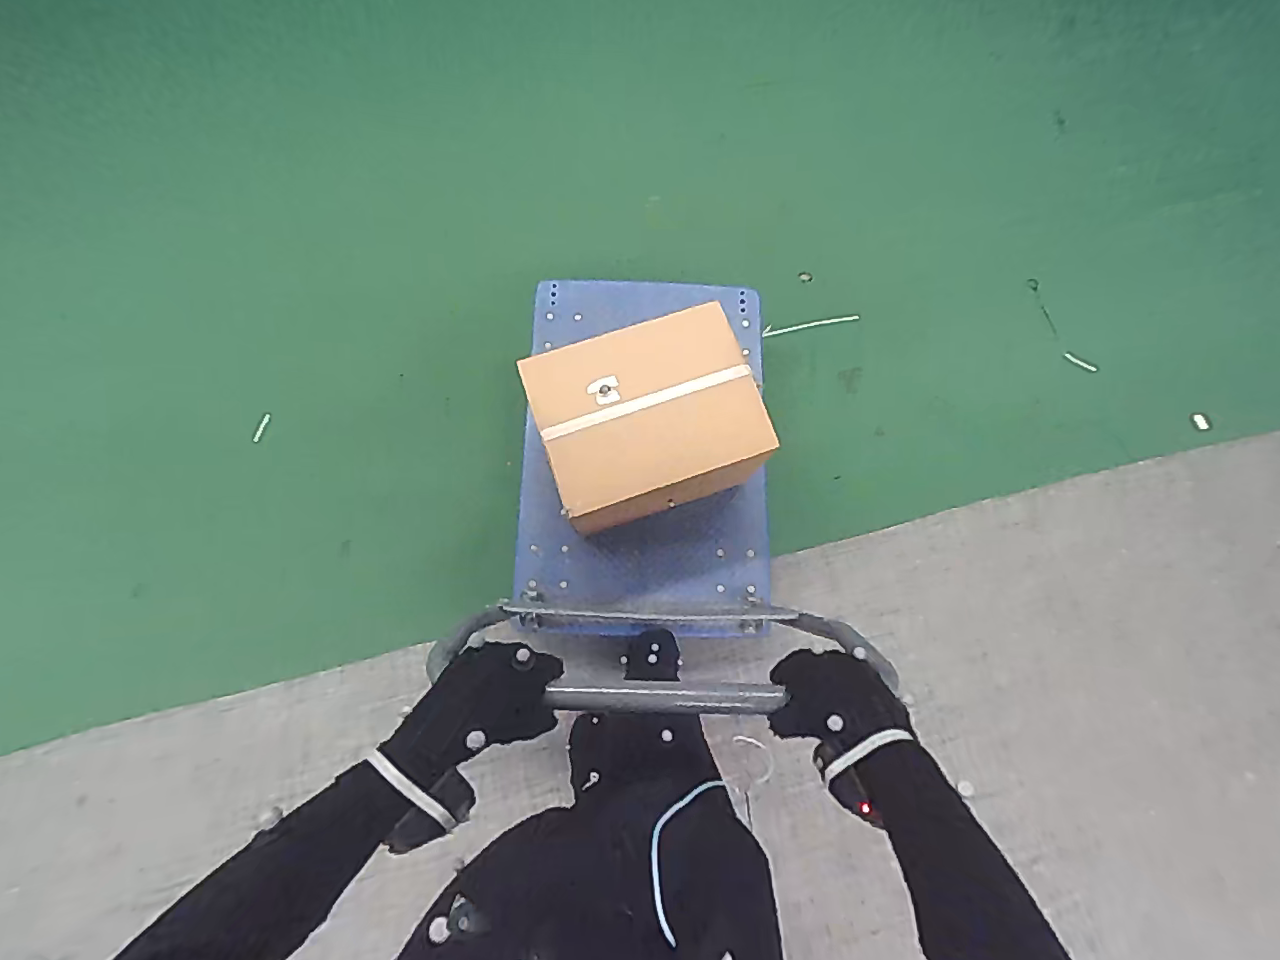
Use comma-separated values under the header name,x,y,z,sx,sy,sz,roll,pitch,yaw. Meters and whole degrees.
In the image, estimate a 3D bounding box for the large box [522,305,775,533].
name,x,y,z,sx,sy,sz,roll,pitch,yaw
large box,0.013,-0.107,1.145,0.408,0.320,0.320,-19,79,-5
